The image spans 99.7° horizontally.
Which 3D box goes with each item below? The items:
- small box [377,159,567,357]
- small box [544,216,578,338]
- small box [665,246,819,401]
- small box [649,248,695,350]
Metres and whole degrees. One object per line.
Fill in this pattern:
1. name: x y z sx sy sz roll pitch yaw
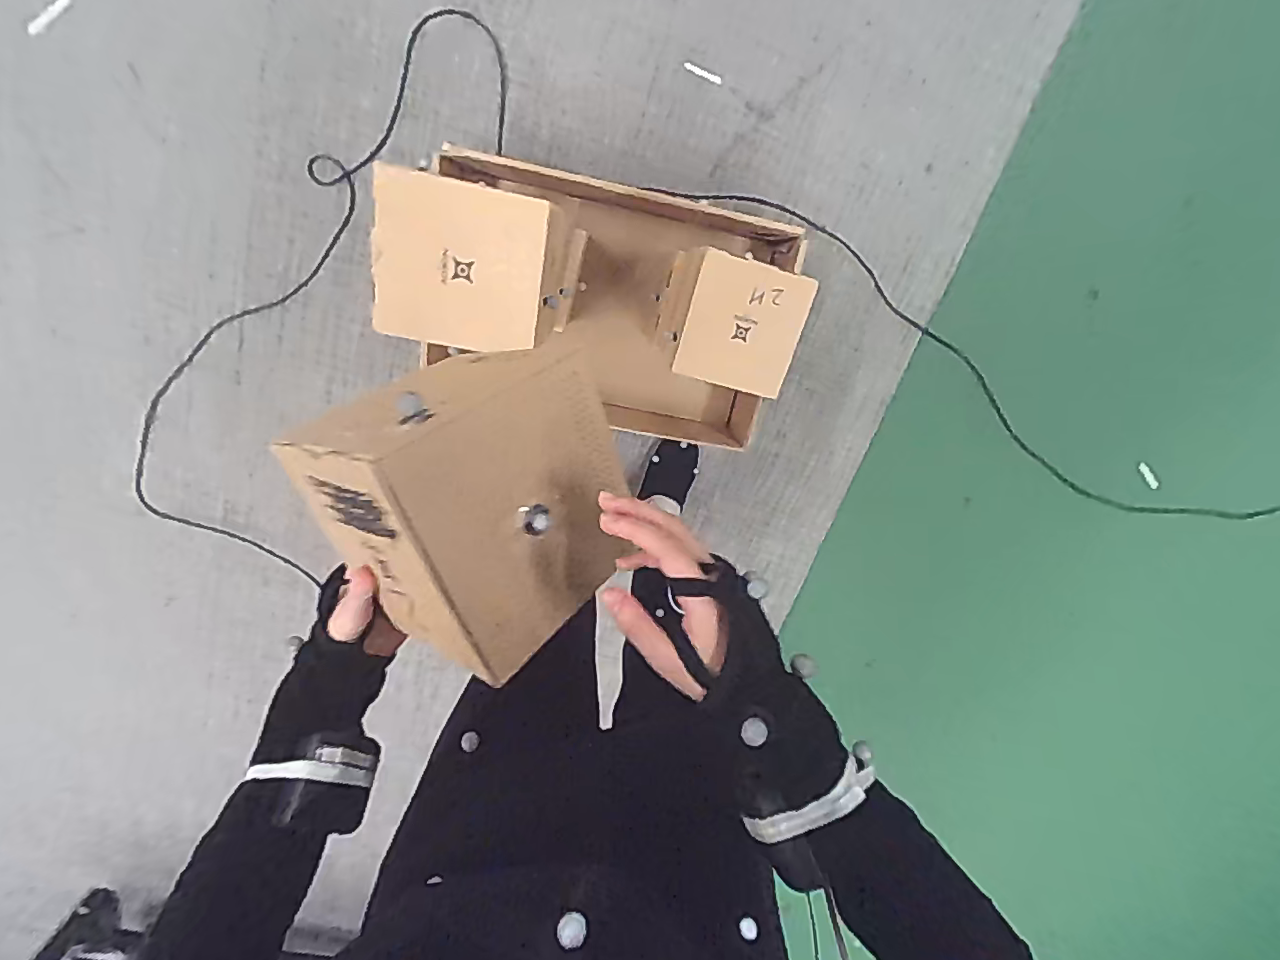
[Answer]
1. small box: -0.187 -0.257 0.638 0.179 0.176 0.168 10 112 -6
2. small box: -0.196 -0.318 0.788 0.179 0.176 0.168 14 111 -9
3. small box: 0.142 -0.243 0.833 0.168 0.176 0.179 14 109 -10
4. small box: 0.120 -0.307 0.984 0.179 0.176 0.168 15 110 -8
